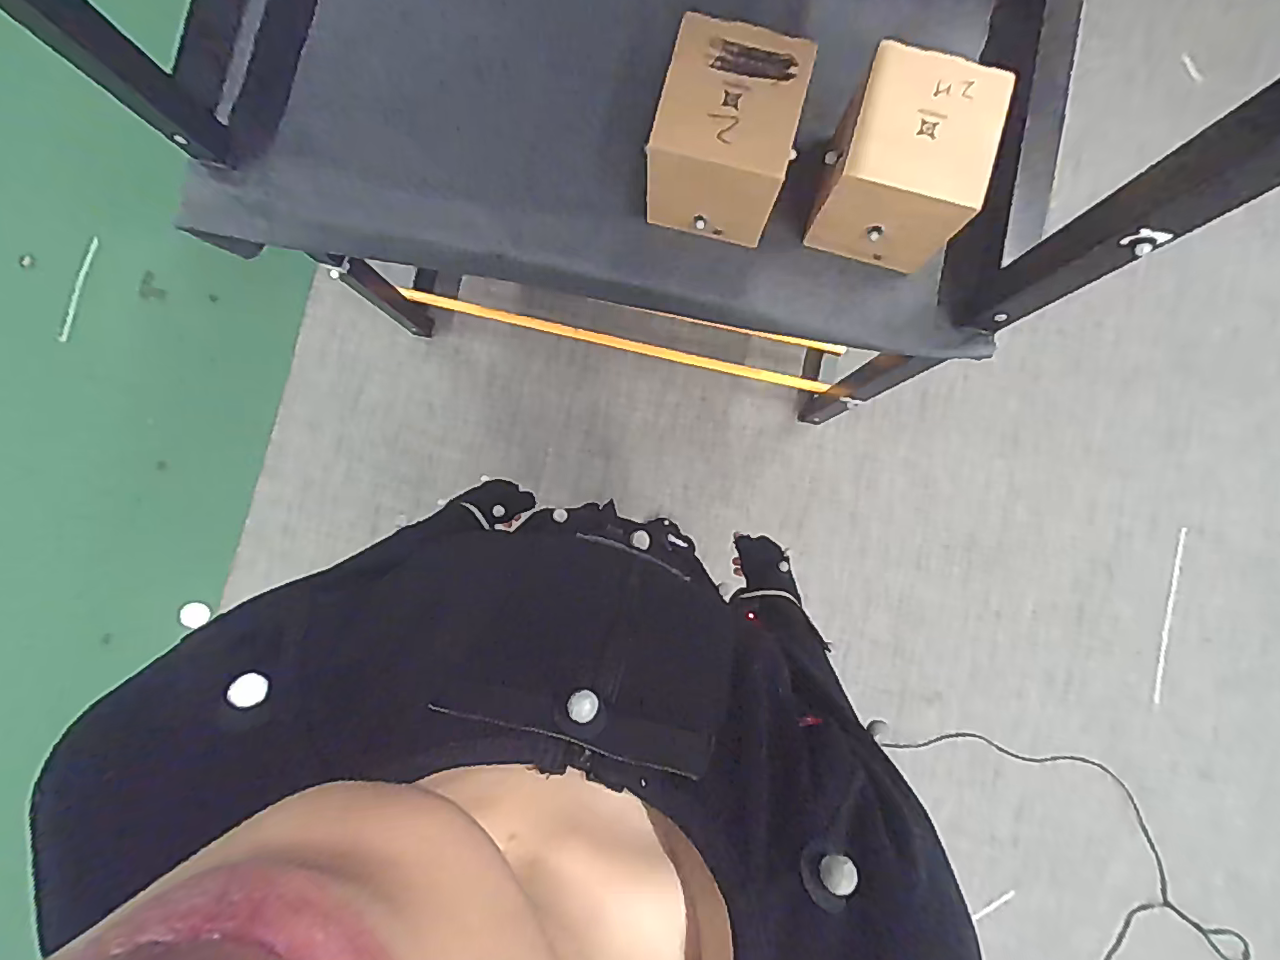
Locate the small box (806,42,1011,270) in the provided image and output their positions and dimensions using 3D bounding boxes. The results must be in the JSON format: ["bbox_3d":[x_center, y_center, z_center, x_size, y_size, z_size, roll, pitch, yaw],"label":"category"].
[{"bbox_3d":[0.334,-0.406,0.709,0.168,0.176,0.179,16,86,2],"label":"small box"}]
